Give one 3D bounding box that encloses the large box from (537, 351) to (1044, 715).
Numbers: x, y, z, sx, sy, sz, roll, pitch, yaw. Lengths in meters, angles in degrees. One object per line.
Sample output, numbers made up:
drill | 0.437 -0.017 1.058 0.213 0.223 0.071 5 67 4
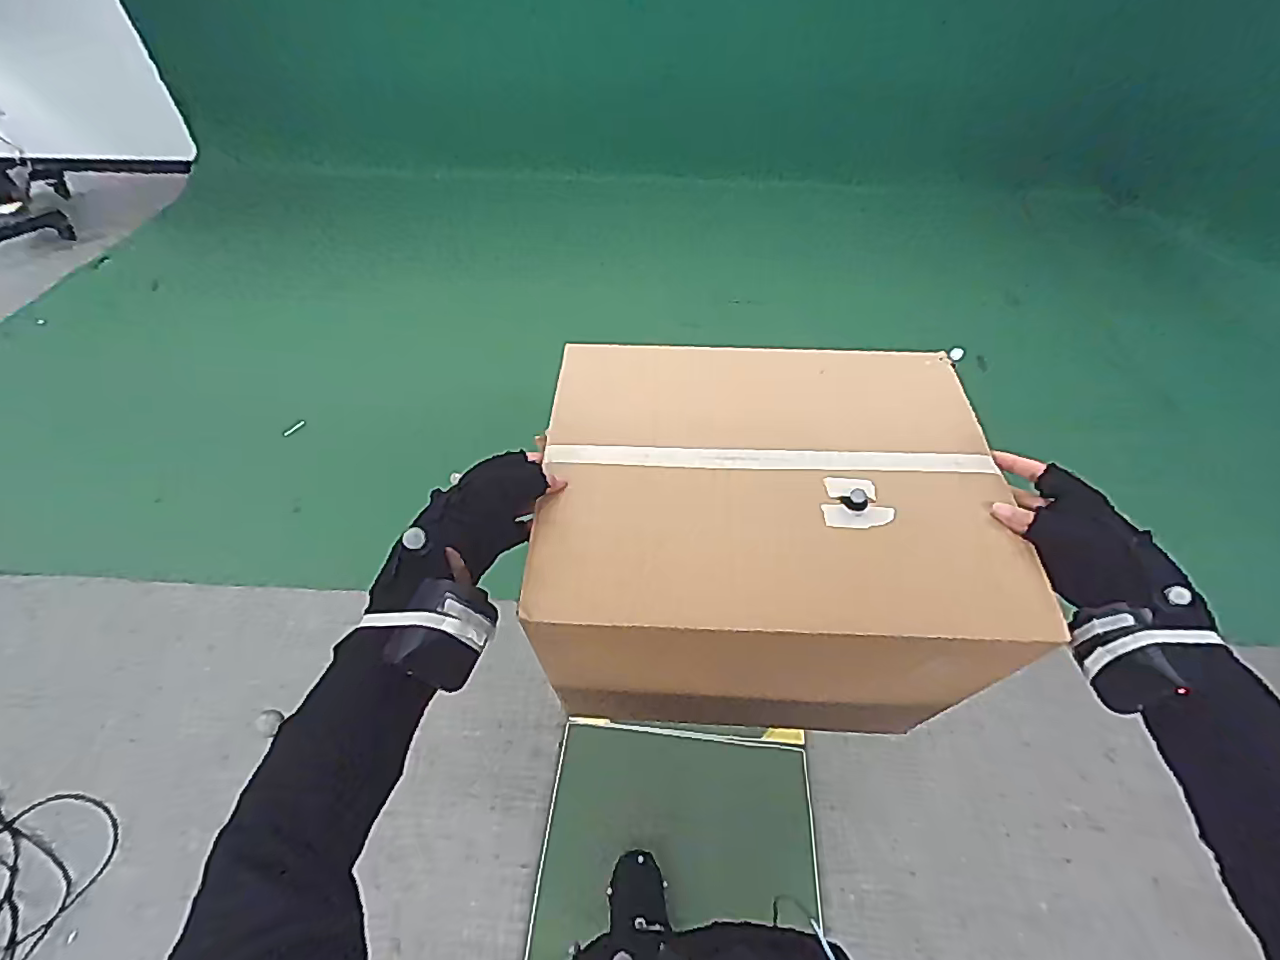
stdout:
large box | 0.117 0.072 0.624 0.408 0.320 0.320 2 55 1
